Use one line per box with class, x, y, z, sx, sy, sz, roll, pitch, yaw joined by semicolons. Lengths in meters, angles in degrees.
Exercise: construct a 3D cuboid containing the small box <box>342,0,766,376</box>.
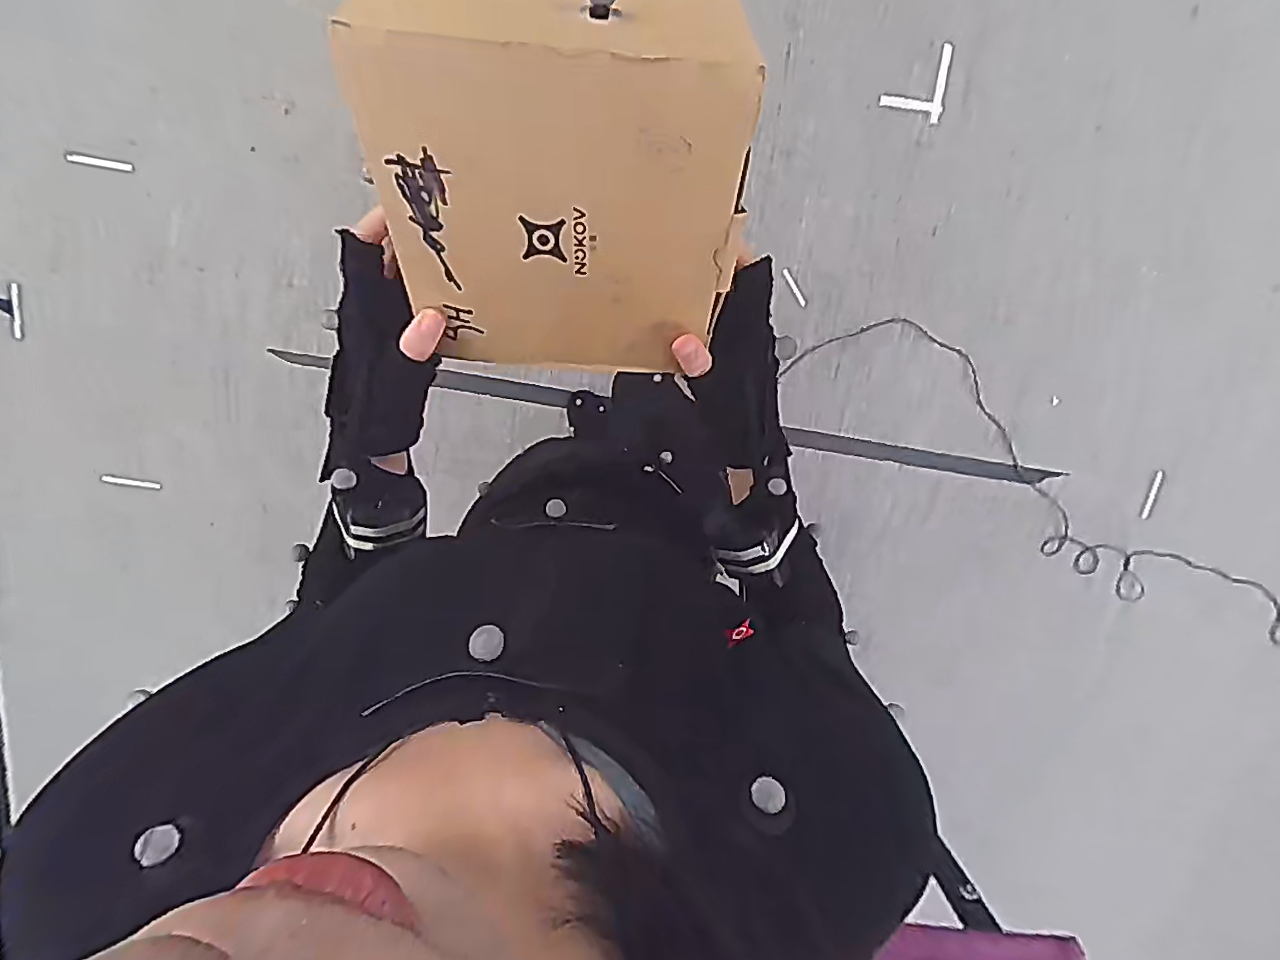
small box;-0.041;-0.185;0.329;0.179;0.176;0.168;3;141;-4
